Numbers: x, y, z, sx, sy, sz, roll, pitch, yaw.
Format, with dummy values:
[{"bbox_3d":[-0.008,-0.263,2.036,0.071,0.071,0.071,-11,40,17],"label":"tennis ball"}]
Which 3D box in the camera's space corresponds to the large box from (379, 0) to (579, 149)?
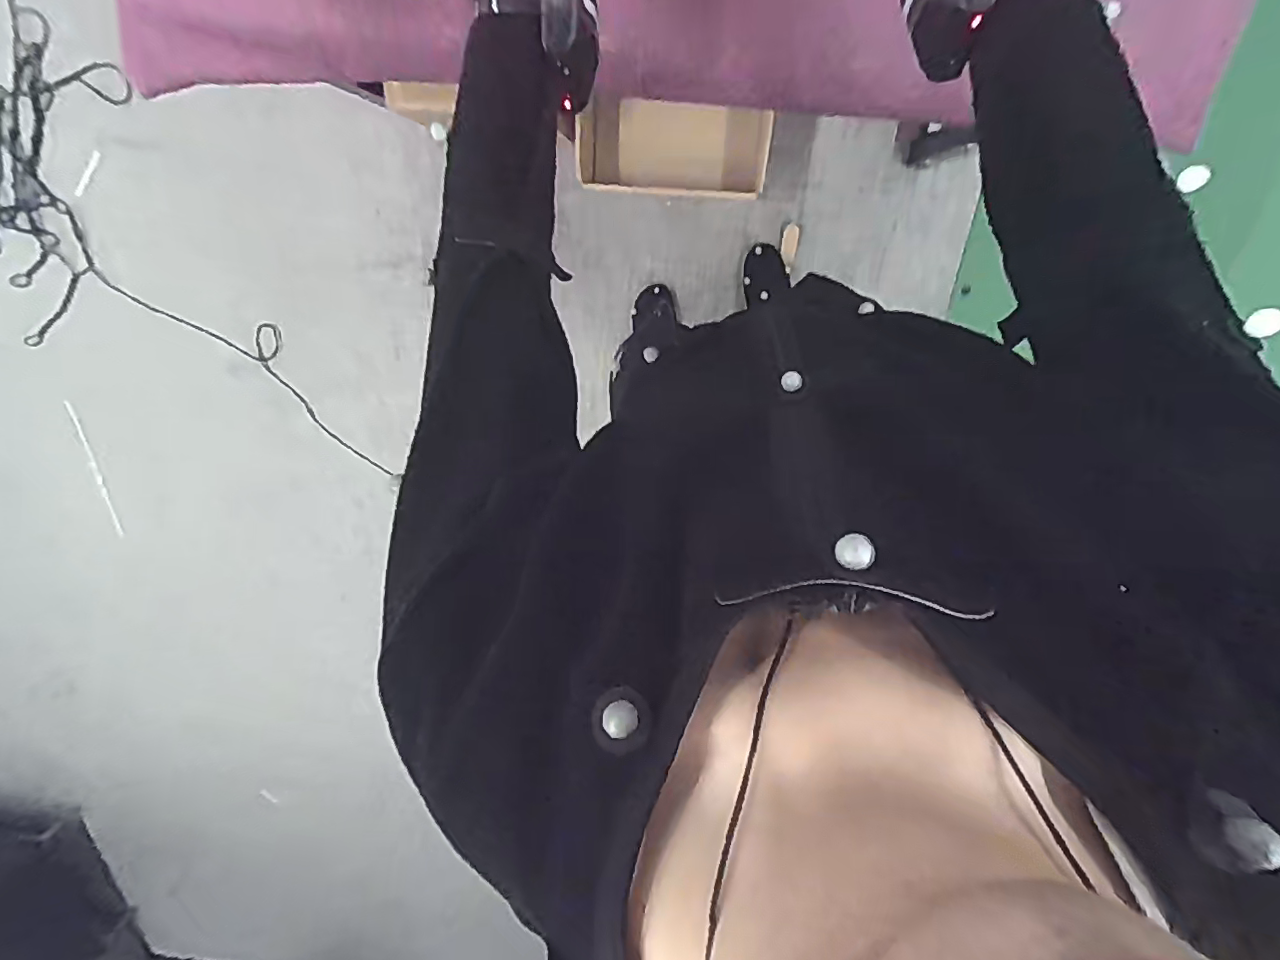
[{"bbox_3d":[-0.295,-0.915,1.067,0.320,0.320,0.408,5,114,3],"label":"large box"}]
